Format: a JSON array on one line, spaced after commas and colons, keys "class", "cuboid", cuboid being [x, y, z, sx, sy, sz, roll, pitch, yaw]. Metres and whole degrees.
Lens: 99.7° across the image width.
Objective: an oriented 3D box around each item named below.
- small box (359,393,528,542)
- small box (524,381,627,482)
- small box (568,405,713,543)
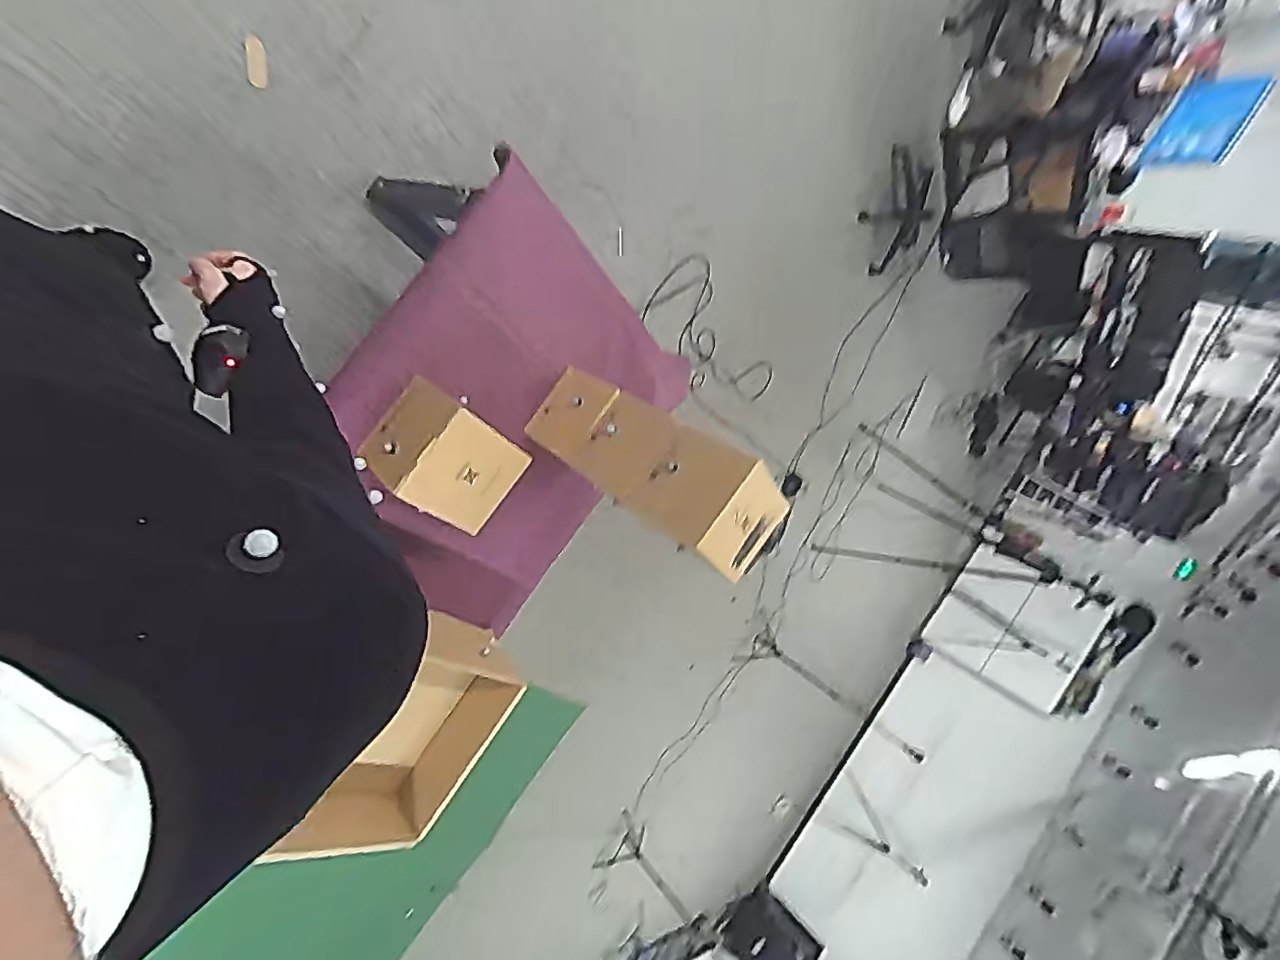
[{"class": "small box", "cuboid": [-0.332, -0.028, 0.912, 0.168, 0.176, 0.179, -54, 141, -6]}, {"class": "small box", "cuboid": [-0.105, -0.086, 1.115, 0.168, 0.176, 0.179, -56, 141, -5]}, {"class": "small box", "cuboid": [0.002, -0.016, 1.011, 0.168, 0.176, 0.179, -53, 139, -9]}]
